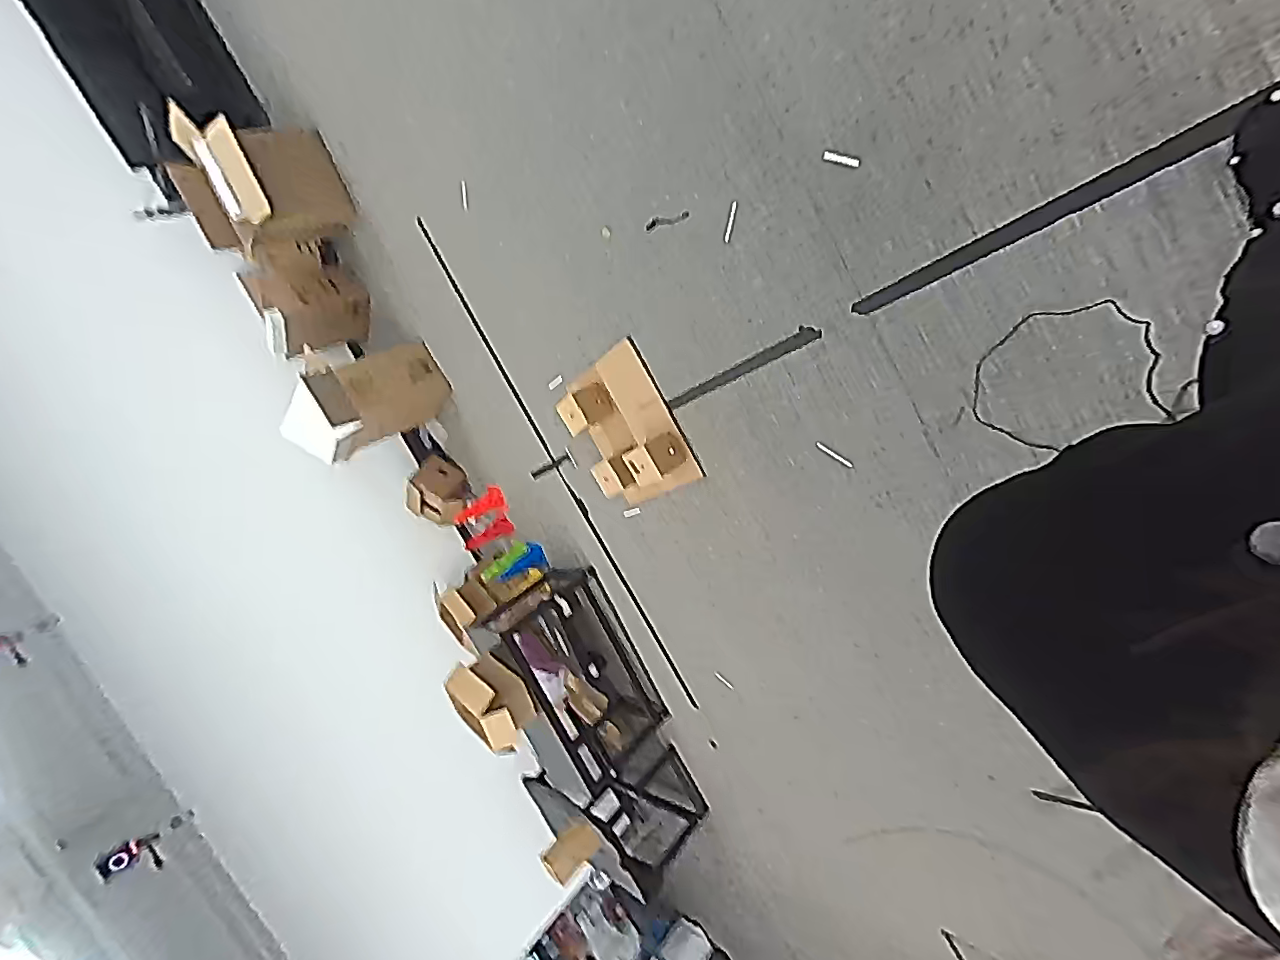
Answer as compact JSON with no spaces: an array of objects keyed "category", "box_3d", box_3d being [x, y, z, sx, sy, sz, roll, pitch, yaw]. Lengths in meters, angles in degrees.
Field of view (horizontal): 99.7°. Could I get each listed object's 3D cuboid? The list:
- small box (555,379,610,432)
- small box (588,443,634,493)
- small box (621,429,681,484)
[{"category":"small box","box_3d":[-0.277,-0.361,2.611,0.179,0.176,0.168,-28,94,53]},{"category":"small box","box_3d":[-0.116,-0.058,2.640,0.179,0.176,0.168,-23,99,53]},{"category":"small box","box_3d":[0.052,-0.108,2.415,0.179,0.176,0.168,-24,98,52]}]
